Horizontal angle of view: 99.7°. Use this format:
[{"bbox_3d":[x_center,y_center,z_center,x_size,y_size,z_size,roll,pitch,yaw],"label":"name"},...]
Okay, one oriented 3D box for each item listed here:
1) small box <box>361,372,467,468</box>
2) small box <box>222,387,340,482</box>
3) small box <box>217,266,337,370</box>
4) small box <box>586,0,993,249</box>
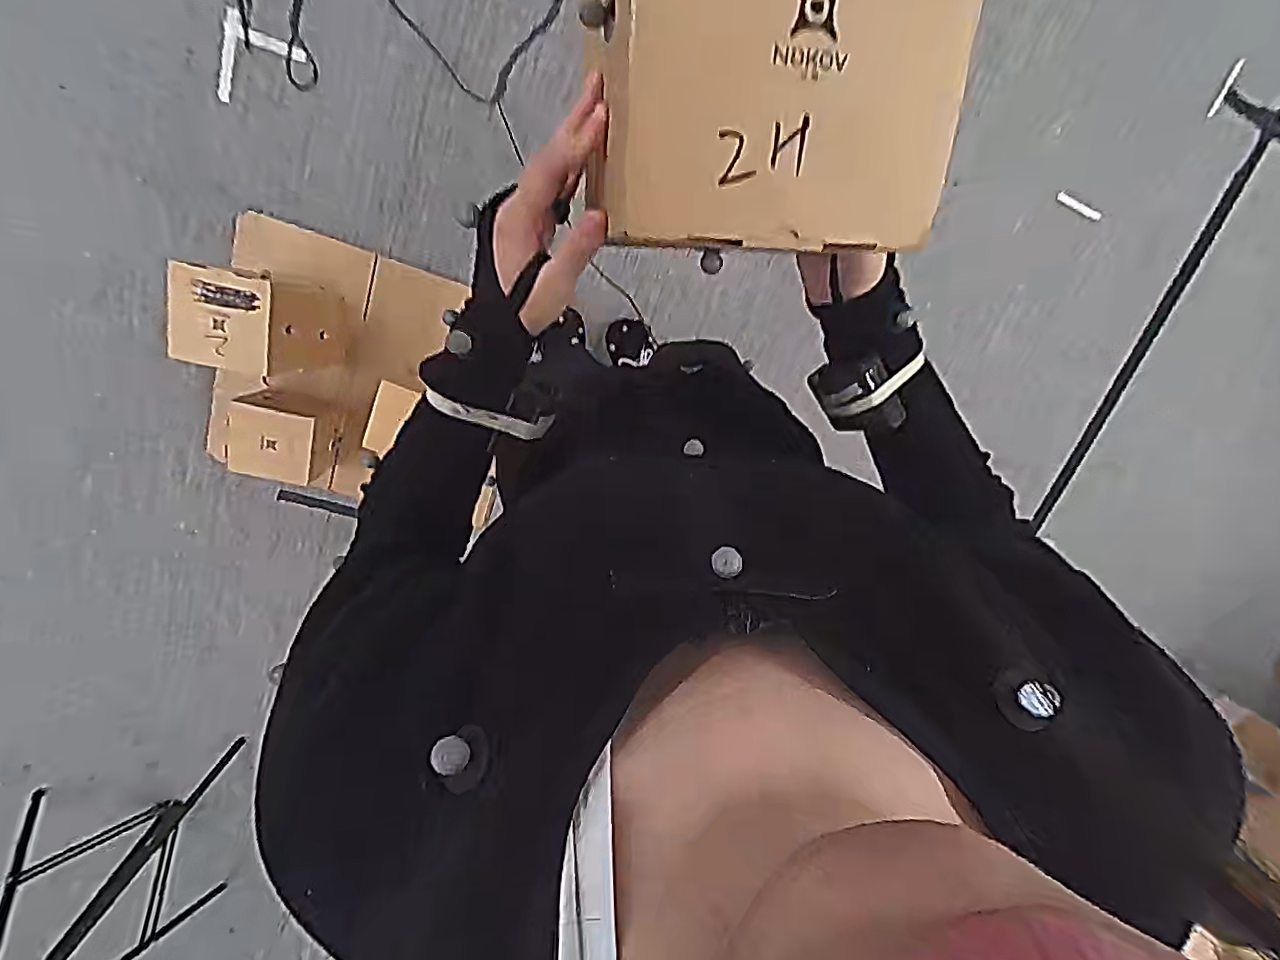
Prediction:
[{"bbox_3d":[-0.535,-0.152,1.299,0.179,0.176,0.168,20,104,-15],"label":"small box"},{"bbox_3d":[-0.837,-0.113,1.270,0.179,0.176,0.168,11,108,-12],"label":"small box"},{"bbox_3d":[-0.792,-0.358,1.196,0.168,0.176,0.179,12,106,-12],"label":"small box"},{"bbox_3d":[0.059,-0.230,0.301,0.168,0.176,0.179,-2,112,-11],"label":"small box"}]
